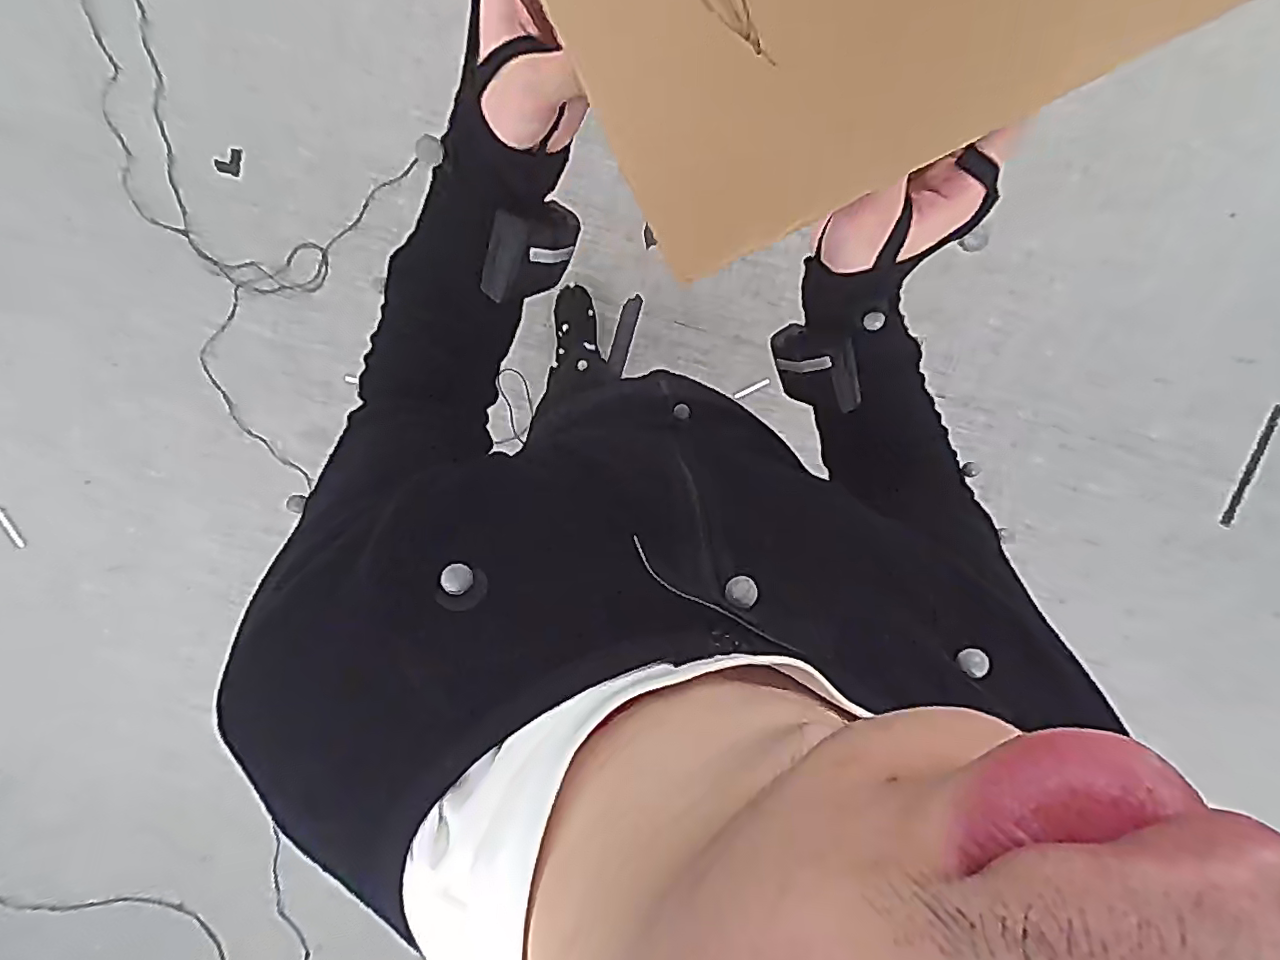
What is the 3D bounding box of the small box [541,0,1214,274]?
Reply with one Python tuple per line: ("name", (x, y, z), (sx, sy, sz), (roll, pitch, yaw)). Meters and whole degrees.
("small box", (0.058, -0.207, 0.188), (0.179, 0.176, 0.168), (-21, 119, 21))
